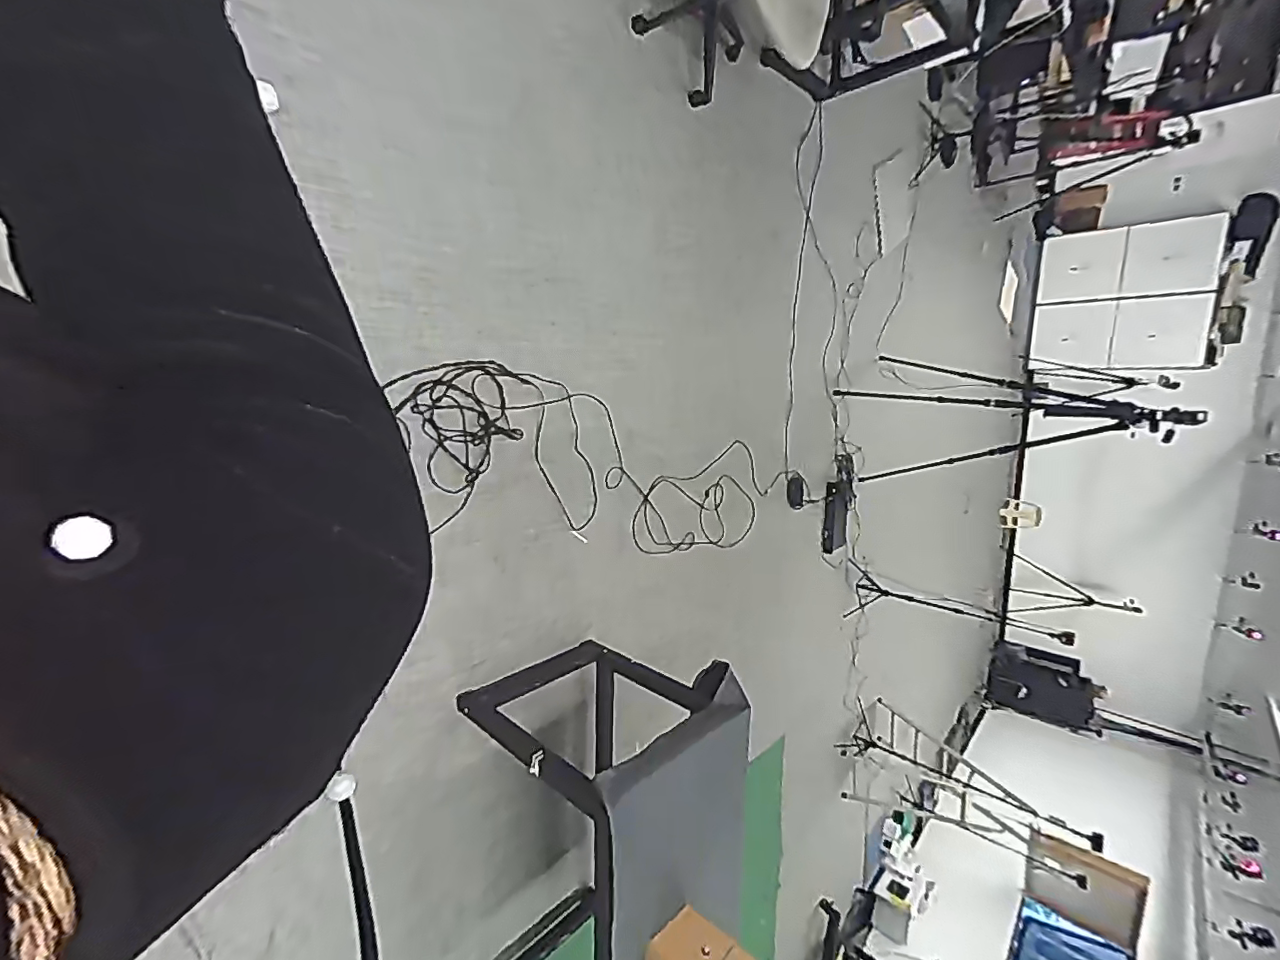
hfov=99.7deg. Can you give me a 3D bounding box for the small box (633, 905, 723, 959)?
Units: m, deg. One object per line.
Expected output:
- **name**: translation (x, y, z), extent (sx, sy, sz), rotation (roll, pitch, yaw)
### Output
- **small box**: translation (0.095, 1.285, 1.424), extent (0.179, 0.176, 0.168), rotation (-2, 98, -48)
